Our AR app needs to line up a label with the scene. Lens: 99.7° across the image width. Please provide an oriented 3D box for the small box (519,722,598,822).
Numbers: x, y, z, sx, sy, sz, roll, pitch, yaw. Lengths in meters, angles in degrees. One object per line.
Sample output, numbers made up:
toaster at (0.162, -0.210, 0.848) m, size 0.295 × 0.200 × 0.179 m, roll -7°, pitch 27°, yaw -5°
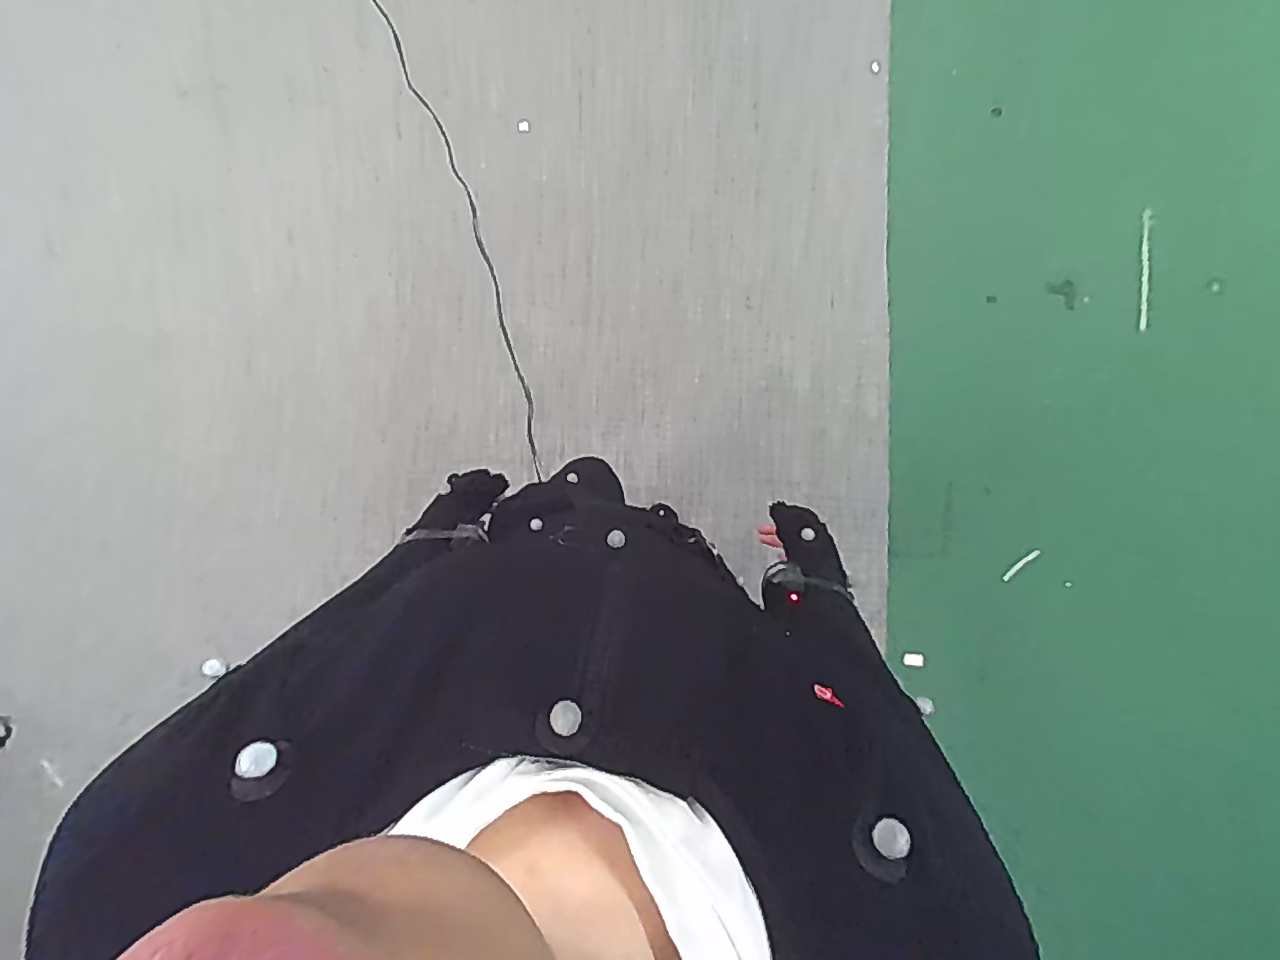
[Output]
small box at (-0.209, 0.738, 1.382) m, size 0.179 × 0.176 × 0.168 m, roll 3°, pitch 89°, yaw 2°

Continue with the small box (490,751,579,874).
small box at (-0.232, 0.742, 1.222) m, size 0.168 × 0.176 × 0.179 m, roll 2°, pitch 88°, yaw 1°
